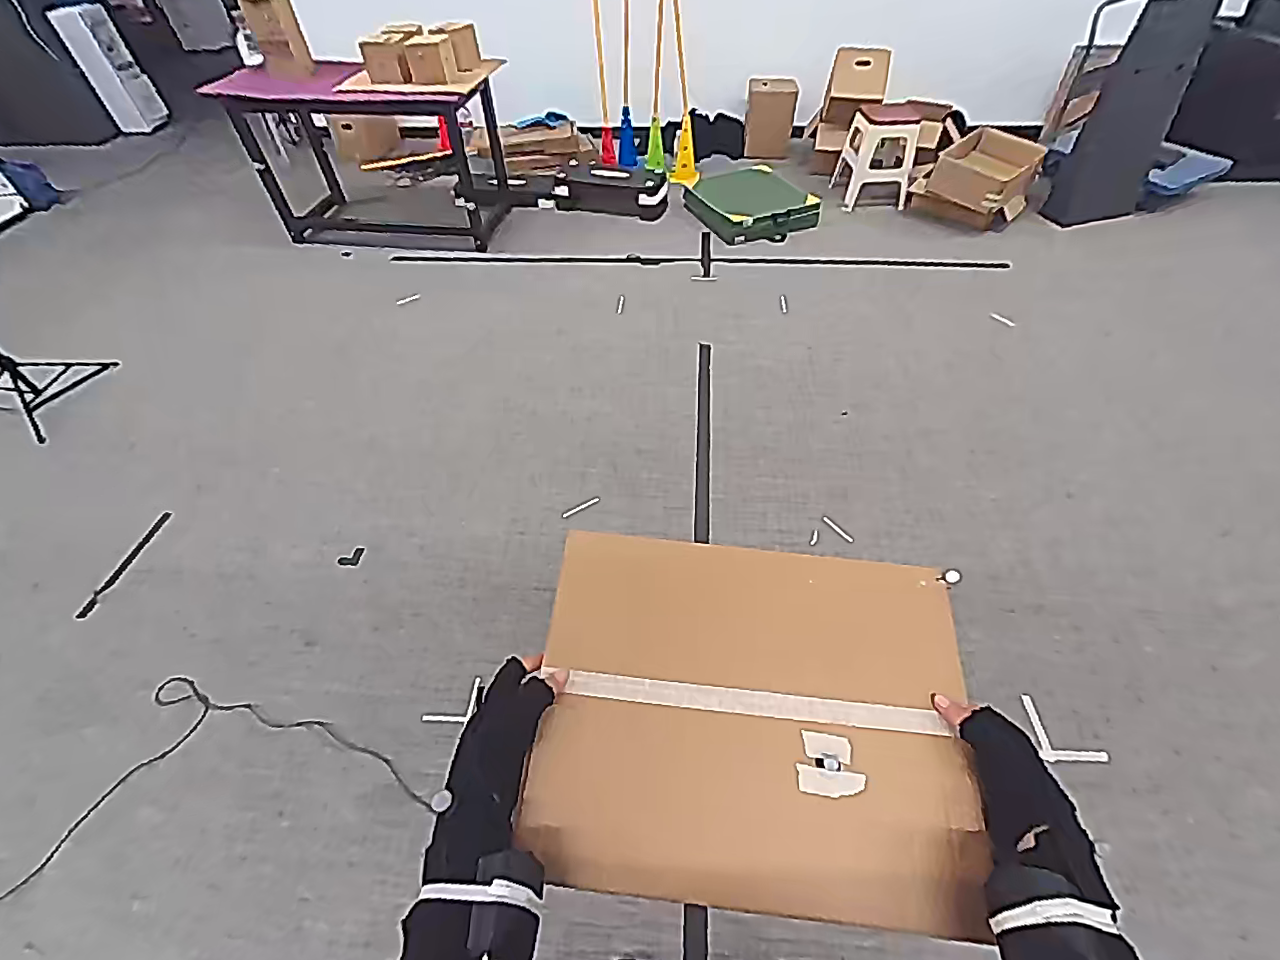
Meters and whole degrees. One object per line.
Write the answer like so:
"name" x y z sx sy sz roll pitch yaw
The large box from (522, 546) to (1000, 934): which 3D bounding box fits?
"large box" 0.106 0.295 0.645 0.408 0.320 0.320 6 61 2
